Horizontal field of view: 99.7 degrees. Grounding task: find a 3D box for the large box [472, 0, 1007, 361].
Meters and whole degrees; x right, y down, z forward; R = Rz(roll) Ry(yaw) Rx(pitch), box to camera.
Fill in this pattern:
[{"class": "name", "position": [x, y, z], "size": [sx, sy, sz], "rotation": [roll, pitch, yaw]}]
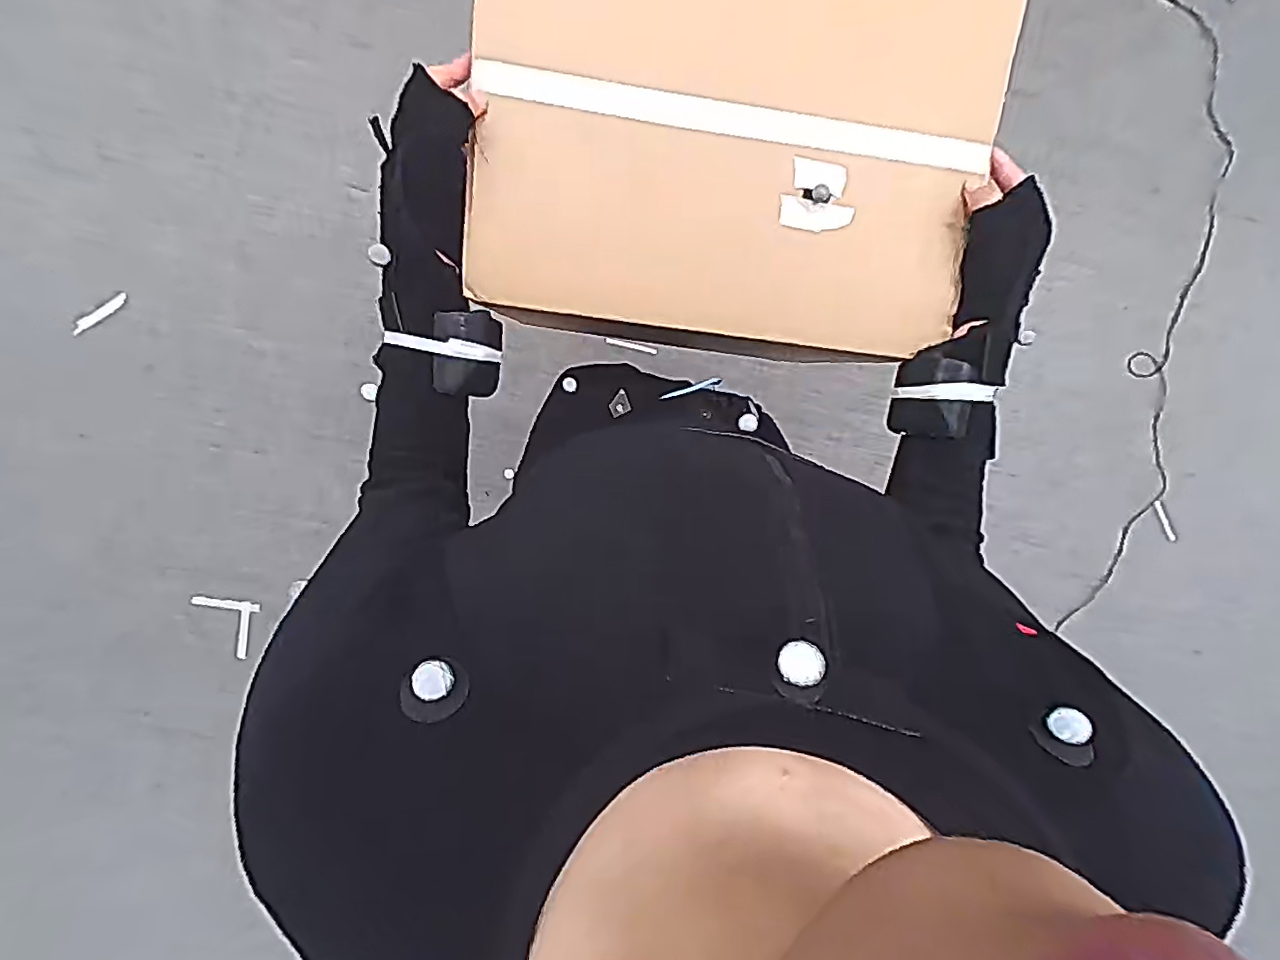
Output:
[{"class": "large box", "position": [0.061, -0.304, 0.571], "size": [0.408, 0.320, 0.320], "rotation": [6, 103, -7]}]
